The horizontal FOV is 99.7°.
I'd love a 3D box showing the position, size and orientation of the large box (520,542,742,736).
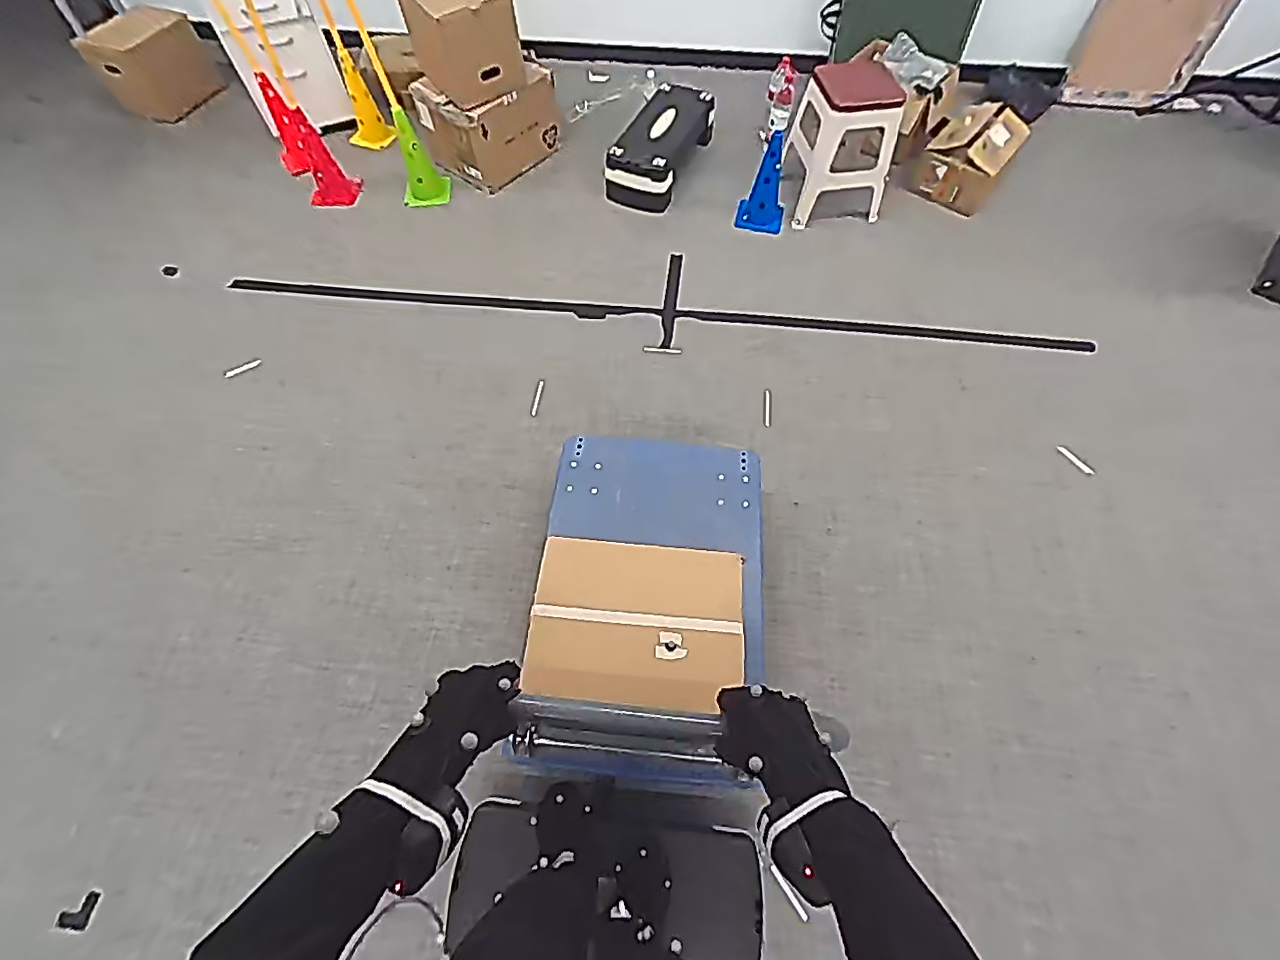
[{"bbox_3d":[-0.012,0.349,1.154,0.408,0.320,0.320,5,60,1],"label":"large box"}]
